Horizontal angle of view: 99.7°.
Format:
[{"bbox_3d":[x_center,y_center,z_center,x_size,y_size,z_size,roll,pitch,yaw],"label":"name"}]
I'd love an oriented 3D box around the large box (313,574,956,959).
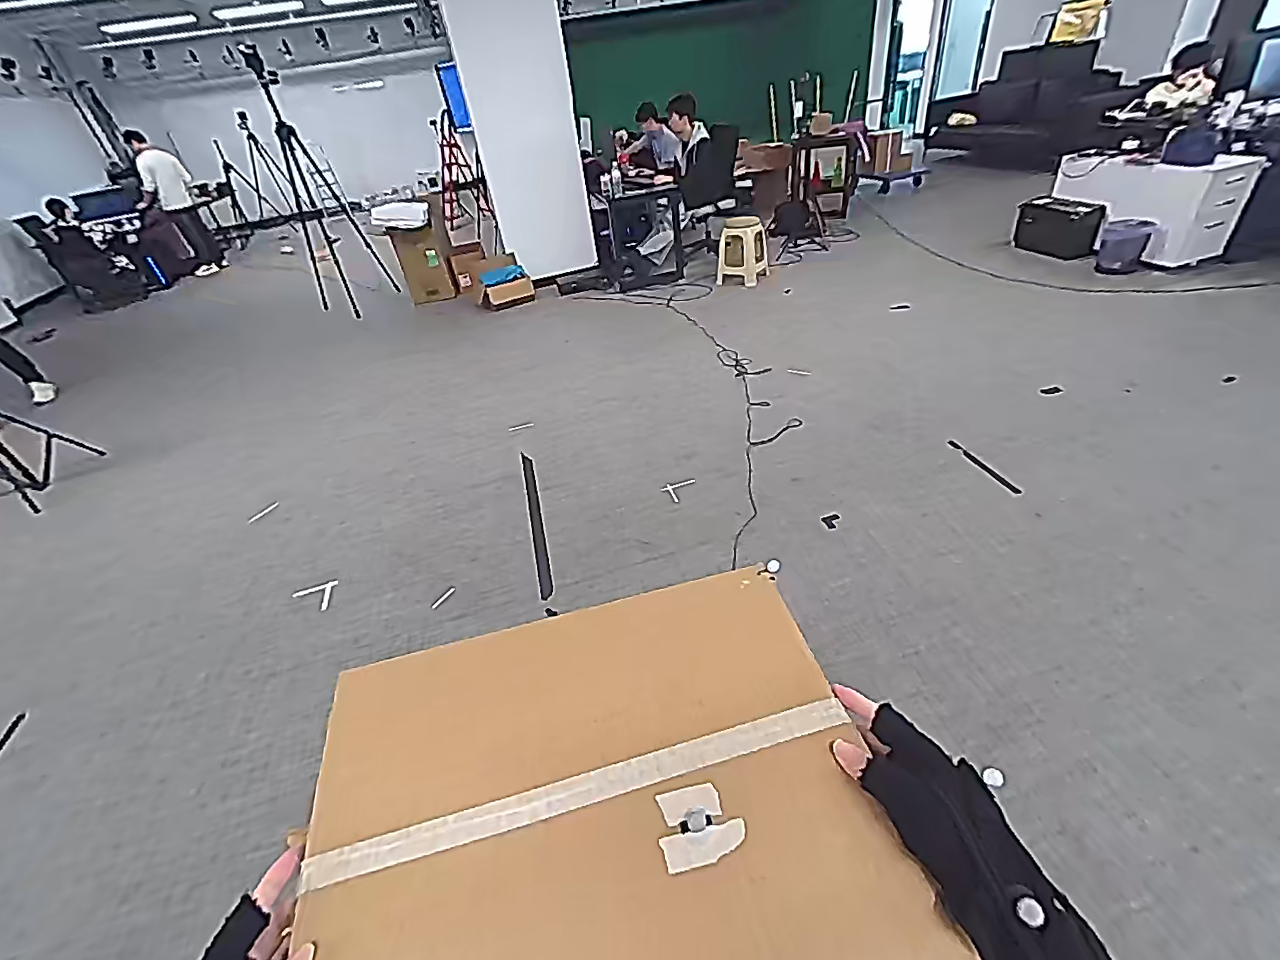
[{"bbox_3d":[-0.022,0.345,0.509,0.408,0.320,0.320,-12,43,-8],"label":"large box"}]
